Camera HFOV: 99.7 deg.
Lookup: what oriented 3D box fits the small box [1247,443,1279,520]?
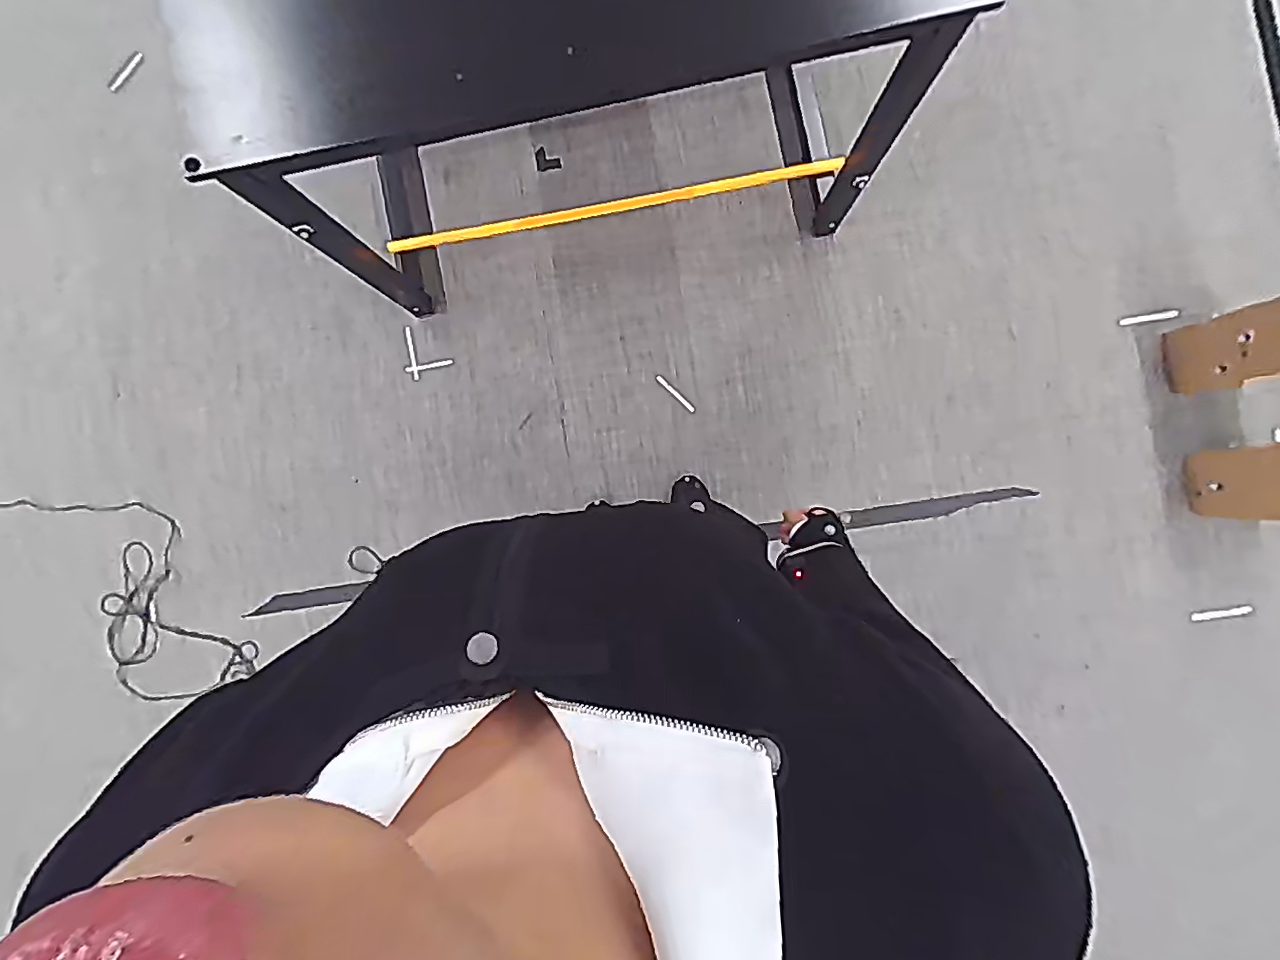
[{"bbox_3d":[1.501,-0.003,1.182,0.168,0.176,0.179,-10,90,3],"label":"small box"}]

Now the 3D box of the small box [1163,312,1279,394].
[{"bbox_3d":[1.475,-0.319,1.349,0.168,0.176,0.179,-12,88,2],"label":"small box"}]

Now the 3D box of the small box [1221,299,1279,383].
[{"bbox_3d":[1.462,-0.323,1.187,0.179,0.176,0.168,-11,87,4],"label":"small box"}]

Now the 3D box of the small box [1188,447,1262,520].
[{"bbox_3d":[1.526,0.005,1.346,0.179,0.176,0.168,-8,89,4],"label":"small box"}]
